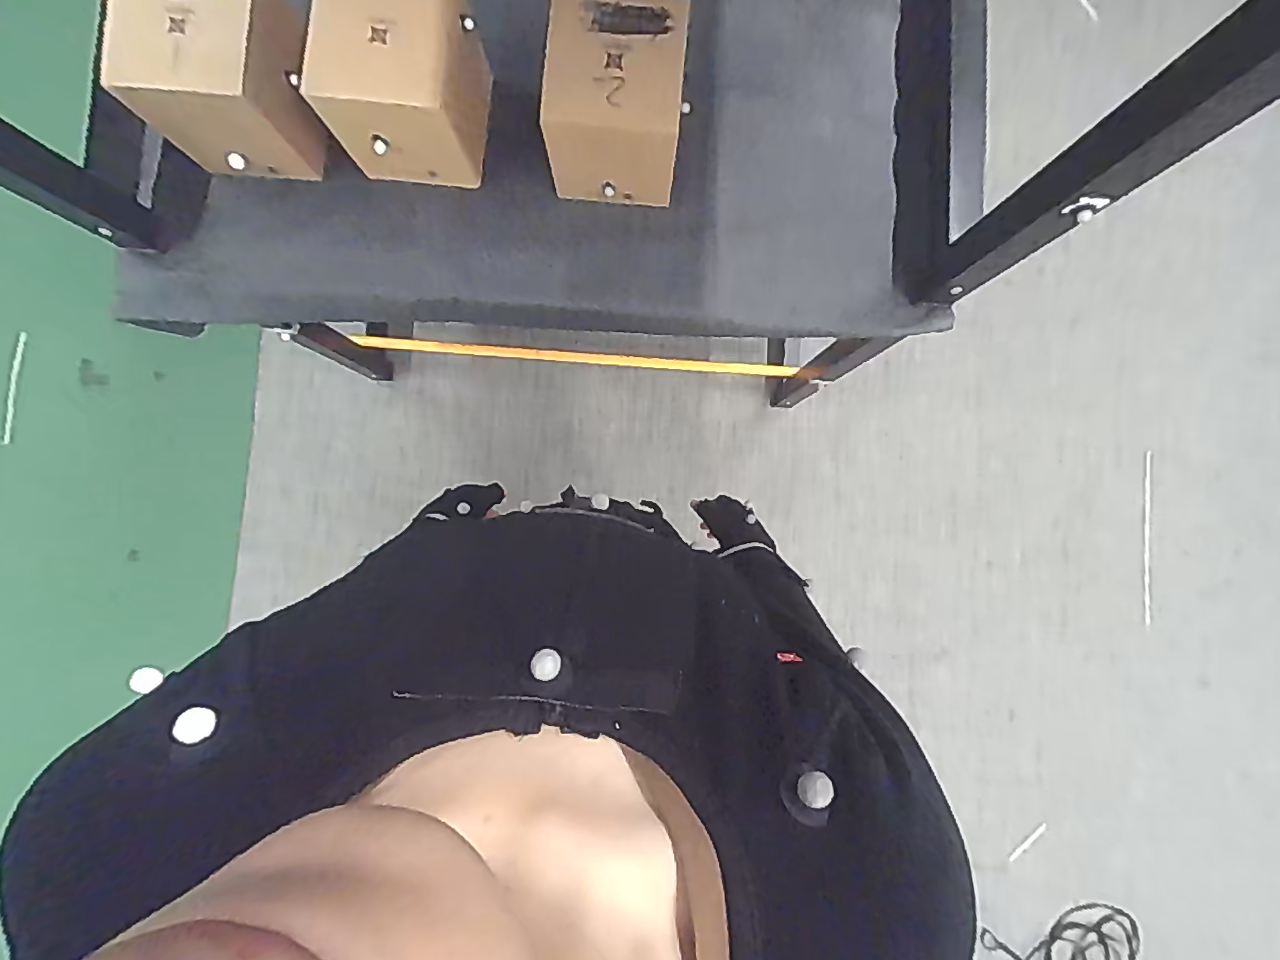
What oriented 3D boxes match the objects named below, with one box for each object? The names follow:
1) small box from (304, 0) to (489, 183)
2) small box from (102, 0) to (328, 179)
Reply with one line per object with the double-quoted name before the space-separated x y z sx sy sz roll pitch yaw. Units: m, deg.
"small box" -0.308 -0.528 0.718 0.168 0.176 0.179 5 86 -1
"small box" -0.535 -0.535 0.710 0.168 0.176 0.179 4 87 -1
